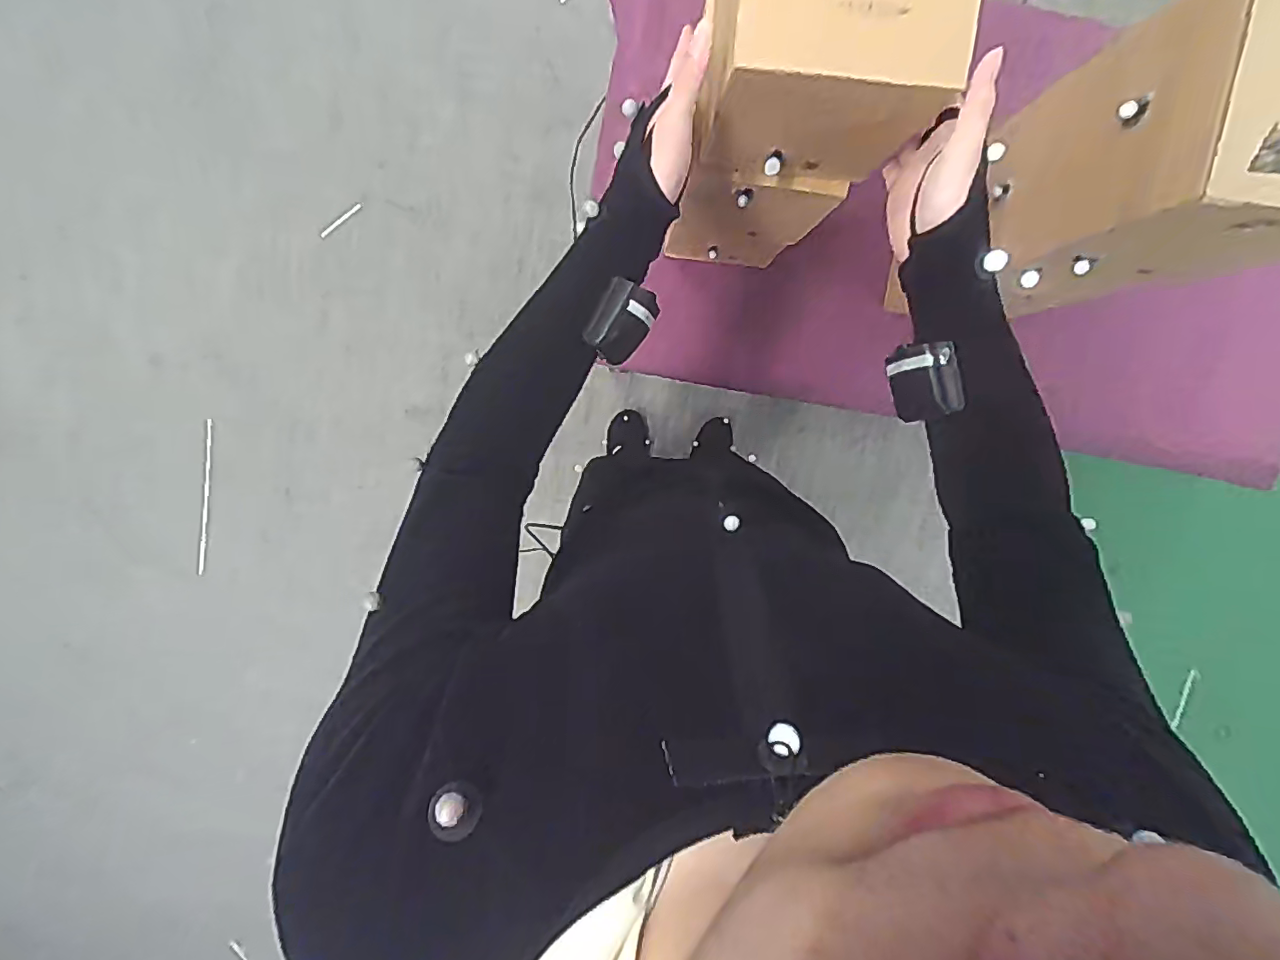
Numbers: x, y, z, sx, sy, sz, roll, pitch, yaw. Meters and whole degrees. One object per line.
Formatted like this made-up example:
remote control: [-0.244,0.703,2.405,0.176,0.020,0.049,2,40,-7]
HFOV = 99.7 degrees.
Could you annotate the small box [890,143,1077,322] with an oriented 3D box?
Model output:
small box: [0.484,-0.338,0.771,0.168,0.176,0.179,8,97,-2]

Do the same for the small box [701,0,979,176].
small box: [0.145,-0.375,0.430,0.168,0.176,0.179,5,99,-1]

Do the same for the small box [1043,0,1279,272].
small box: [0.482,-0.287,0.446,0.168,0.176,0.179,7,96,-2]

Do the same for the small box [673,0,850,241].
small box: [0.131,-0.388,0.594,0.168,0.176,0.179,7,97,-2]

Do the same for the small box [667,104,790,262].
small box: [0.130,-0.423,0.754,0.168,0.176,0.179,5,98,-2]
